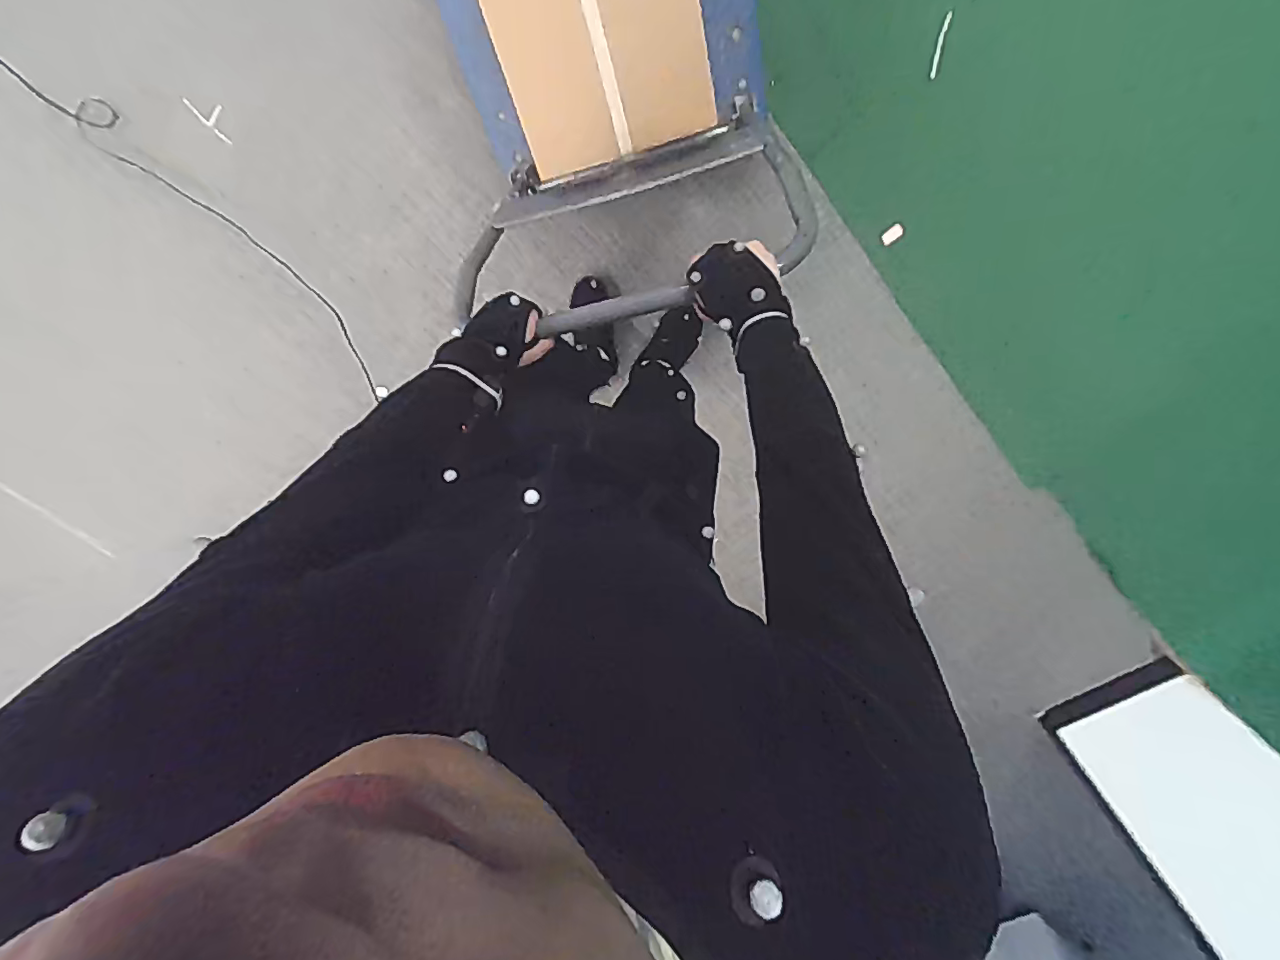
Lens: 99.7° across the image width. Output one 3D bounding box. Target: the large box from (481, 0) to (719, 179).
[{"bbox_3d":[-0.067,-0.790,0.905,0.320,0.320,0.408,-12,127,11],"label":"large box"}]
